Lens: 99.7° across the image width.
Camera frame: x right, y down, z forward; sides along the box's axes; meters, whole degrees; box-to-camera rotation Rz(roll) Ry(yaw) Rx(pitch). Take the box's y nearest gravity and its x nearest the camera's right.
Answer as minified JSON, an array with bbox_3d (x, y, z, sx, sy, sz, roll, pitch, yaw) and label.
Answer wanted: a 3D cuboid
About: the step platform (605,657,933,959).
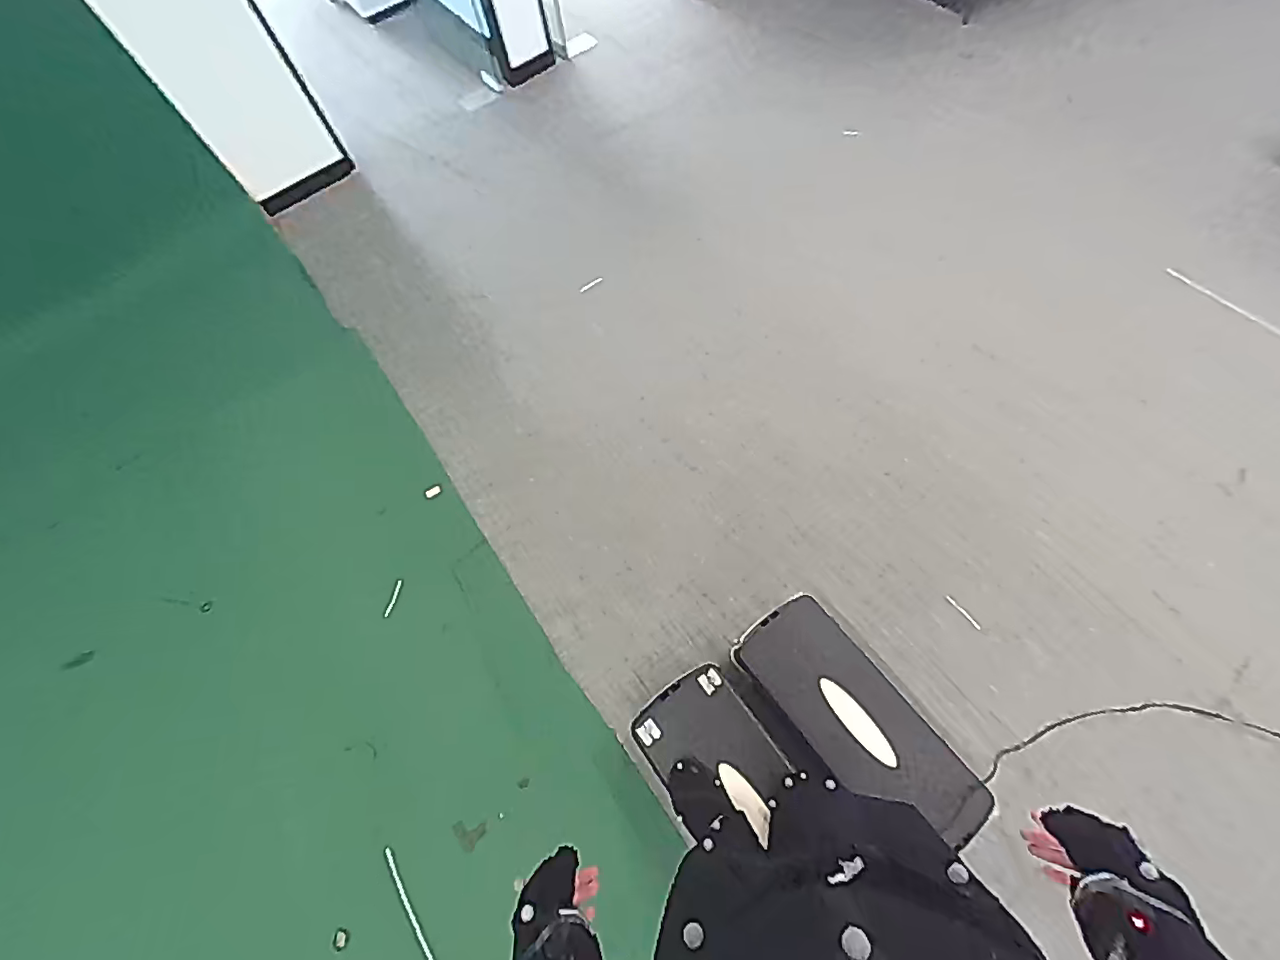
[{"bbox_3d":[0.223,0.720,1.112,0.286,0.204,0.684,-35,68,-11],"label":"step platform"}]
